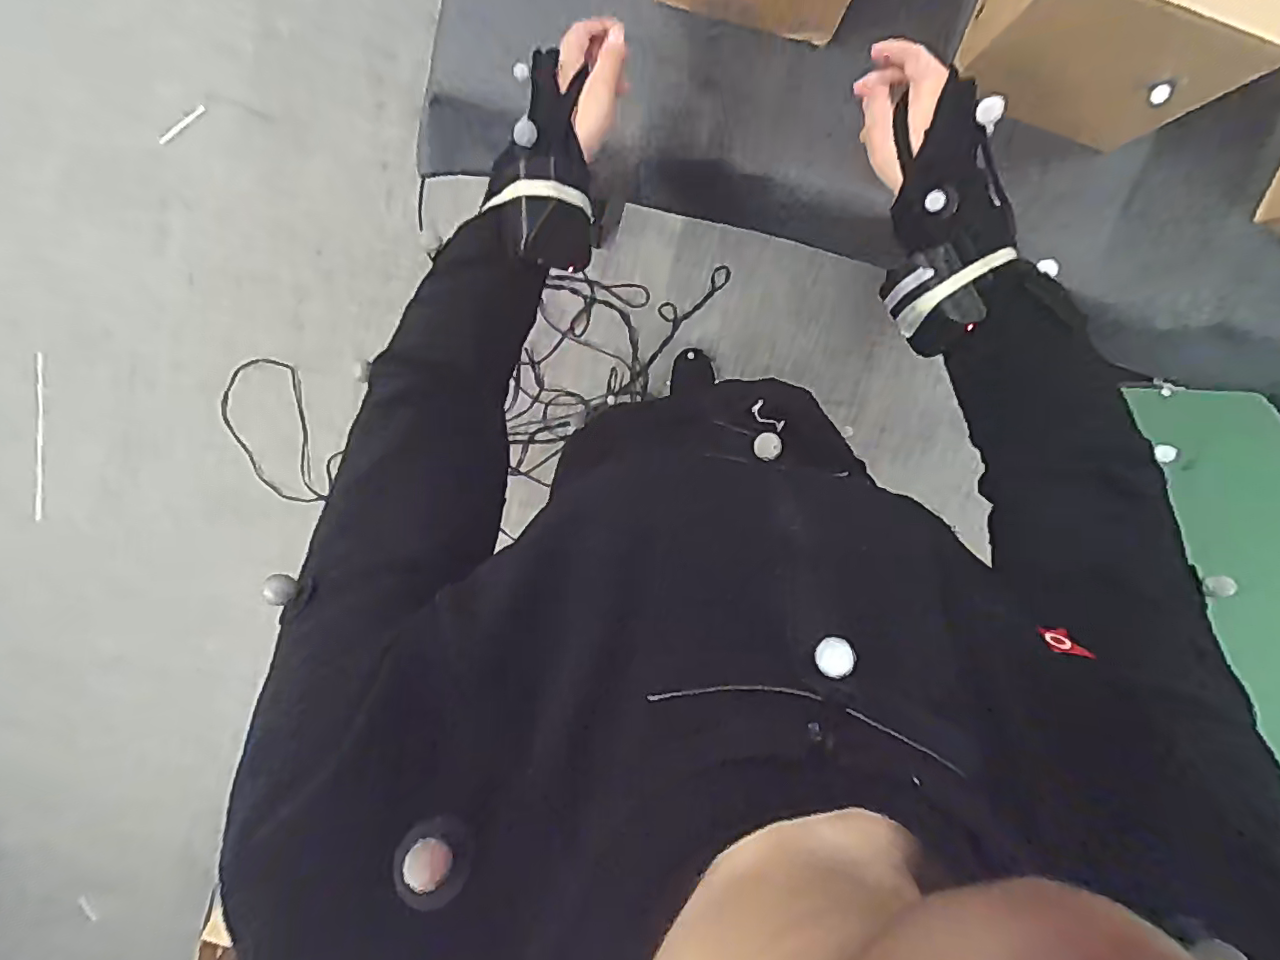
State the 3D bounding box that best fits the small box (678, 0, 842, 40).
[{"bbox_3d":[0.111,-0.497,0.424,0.179,0.176,0.168,16,103,-1],"label":"small box"}]
